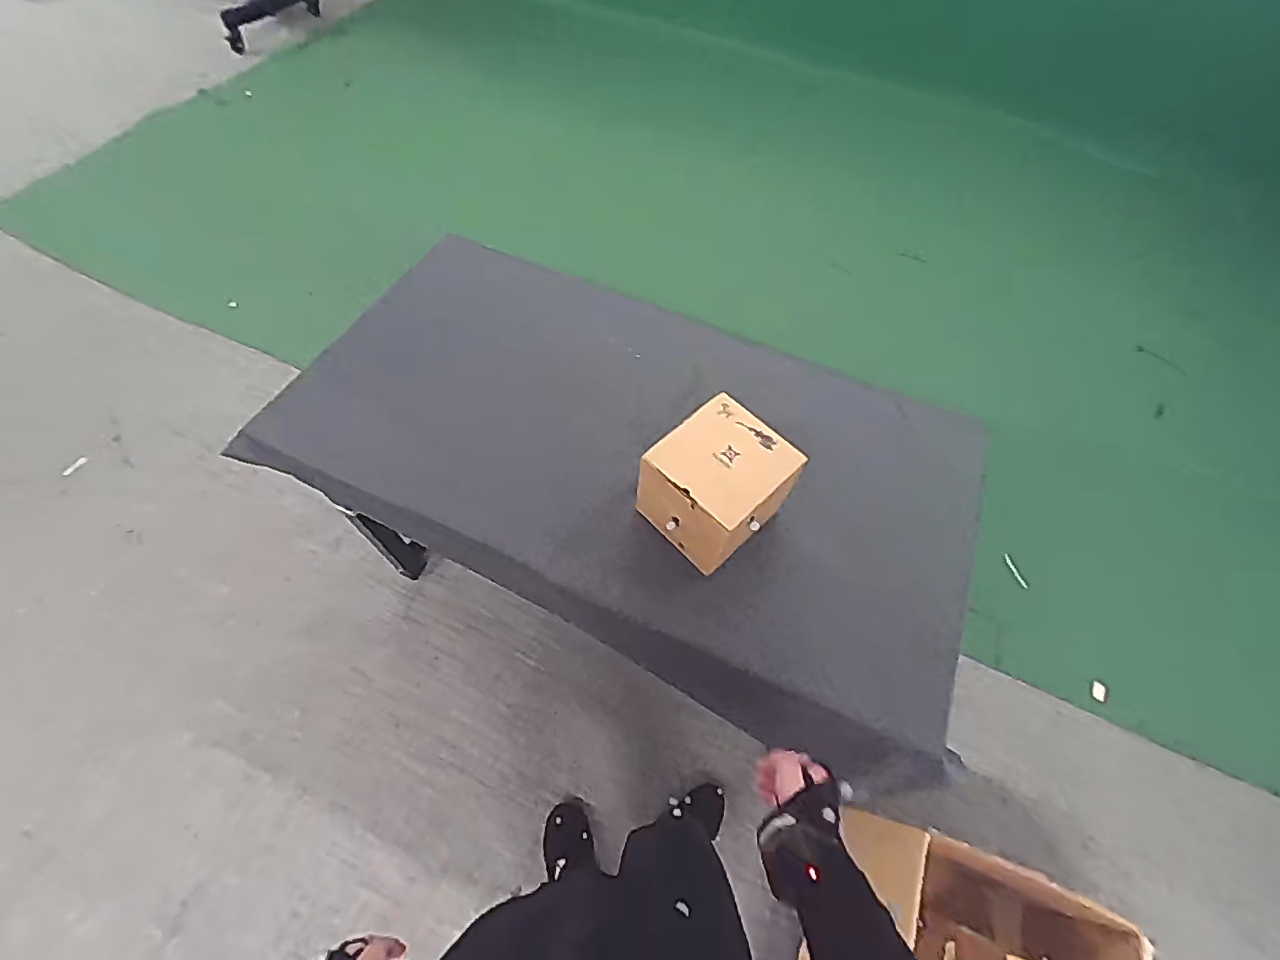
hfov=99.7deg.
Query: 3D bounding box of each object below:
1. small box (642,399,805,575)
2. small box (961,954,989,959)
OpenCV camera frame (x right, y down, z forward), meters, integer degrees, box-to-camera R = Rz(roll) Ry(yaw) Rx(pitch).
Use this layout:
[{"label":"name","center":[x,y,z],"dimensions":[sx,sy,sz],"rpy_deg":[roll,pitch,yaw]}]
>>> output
[{"label":"small box","center":[0.119,0.017,0.837],"dimensions":[0.179,0.176,0.168],"rpy_deg":[-39,68,-22]},{"label":"small box","center":[0.682,0.965,0.932],"dimensions":[0.179,0.176,0.168],"rpy_deg":[17,62,8]}]
